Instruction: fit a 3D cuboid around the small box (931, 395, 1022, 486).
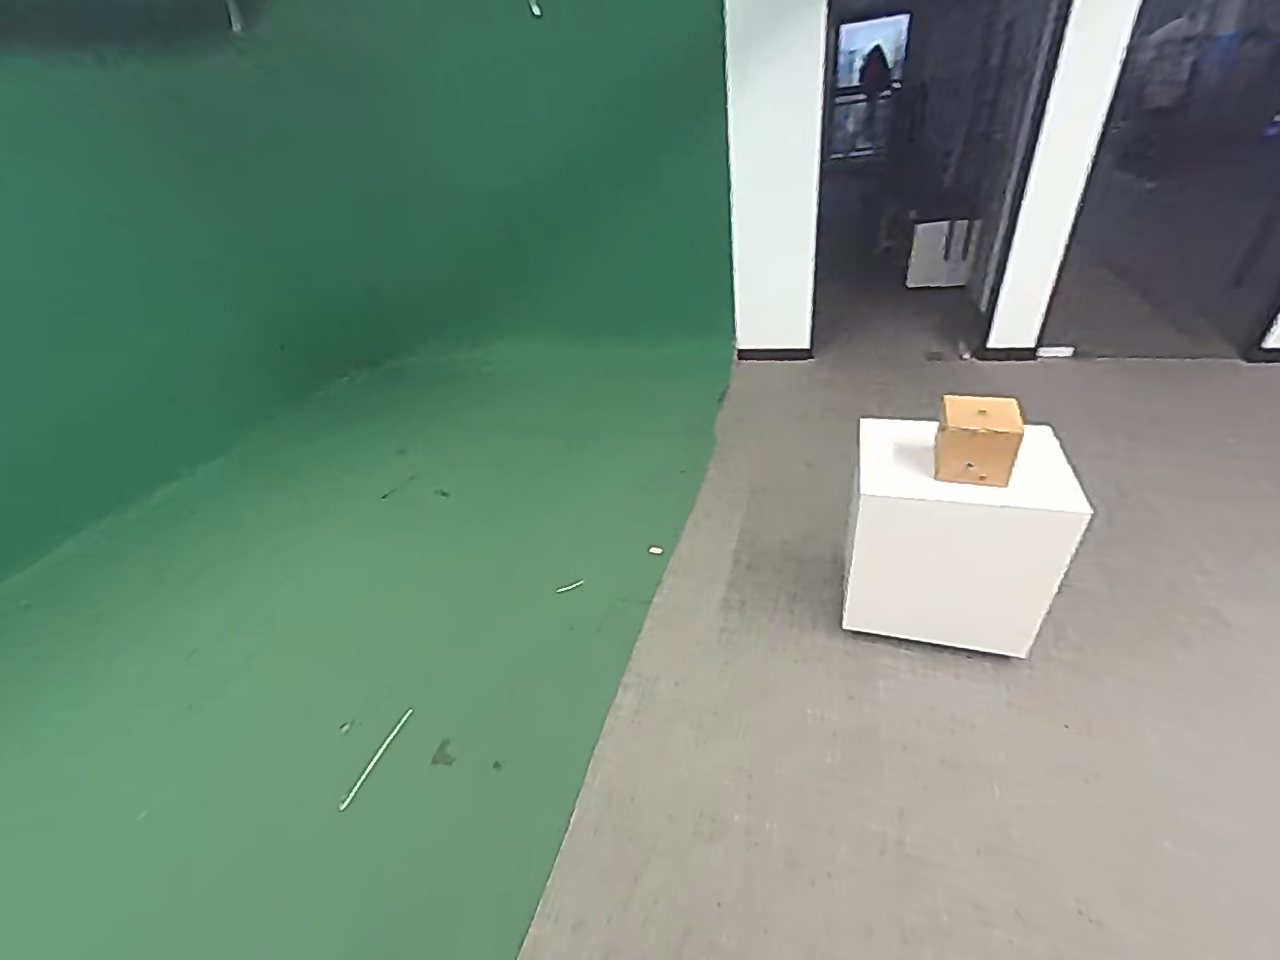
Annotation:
[{"bbox_3d":[0.869,-0.106,1.414,0.168,0.176,0.179,6,37,21],"label":"small box"}]
